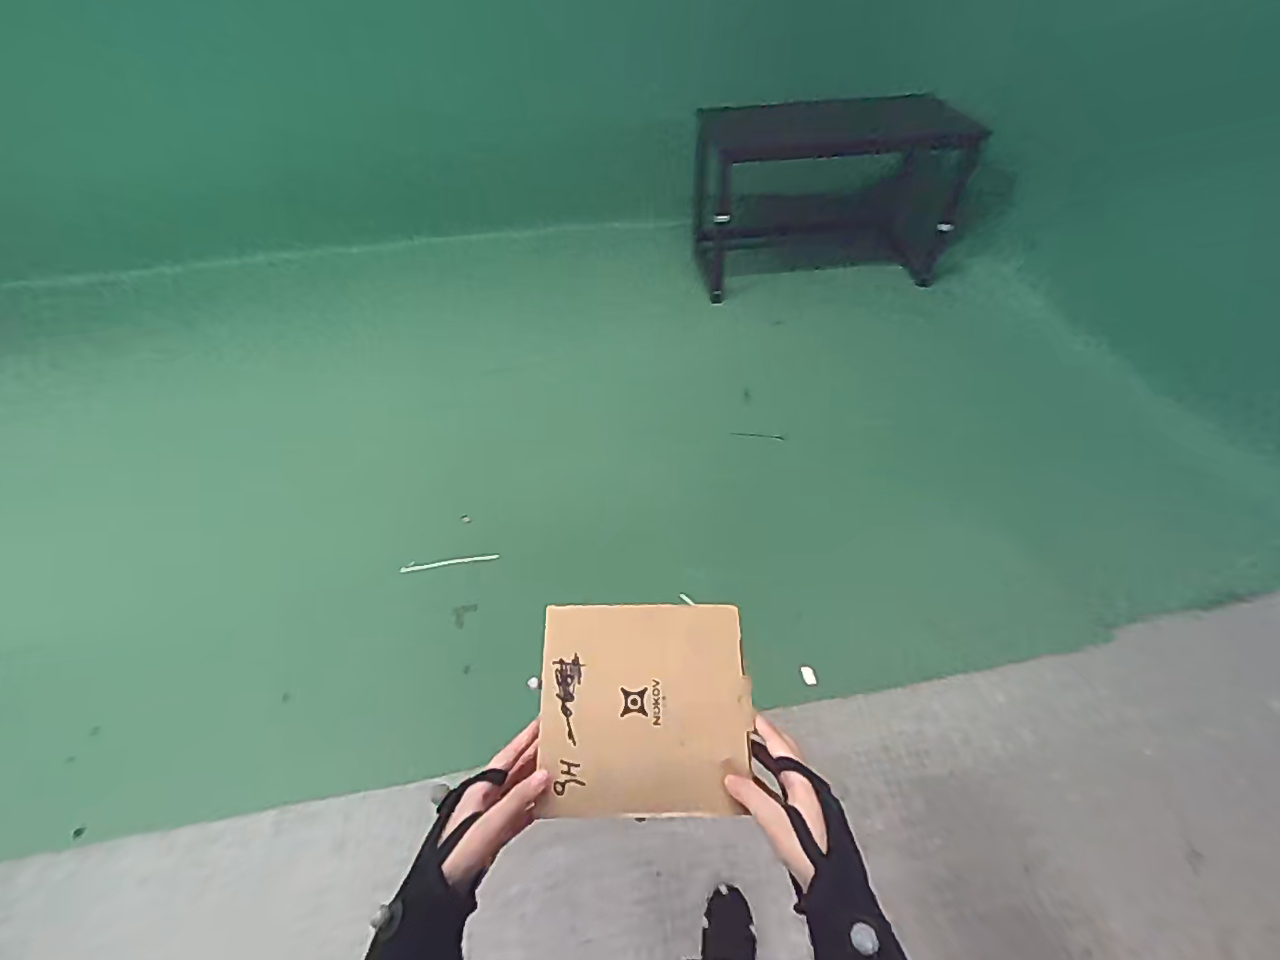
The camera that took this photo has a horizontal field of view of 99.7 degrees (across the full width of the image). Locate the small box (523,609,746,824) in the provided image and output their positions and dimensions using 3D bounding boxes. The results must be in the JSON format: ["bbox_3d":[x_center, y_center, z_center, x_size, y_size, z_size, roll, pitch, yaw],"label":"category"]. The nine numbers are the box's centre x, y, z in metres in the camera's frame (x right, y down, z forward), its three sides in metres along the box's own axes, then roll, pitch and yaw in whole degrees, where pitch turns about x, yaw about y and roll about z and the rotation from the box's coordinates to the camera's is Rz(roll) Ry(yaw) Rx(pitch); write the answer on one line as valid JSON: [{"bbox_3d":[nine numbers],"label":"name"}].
[{"bbox_3d":[-0.009,0.224,0.522,0.179,0.176,0.168,0,63,-3],"label":"small box"}]
